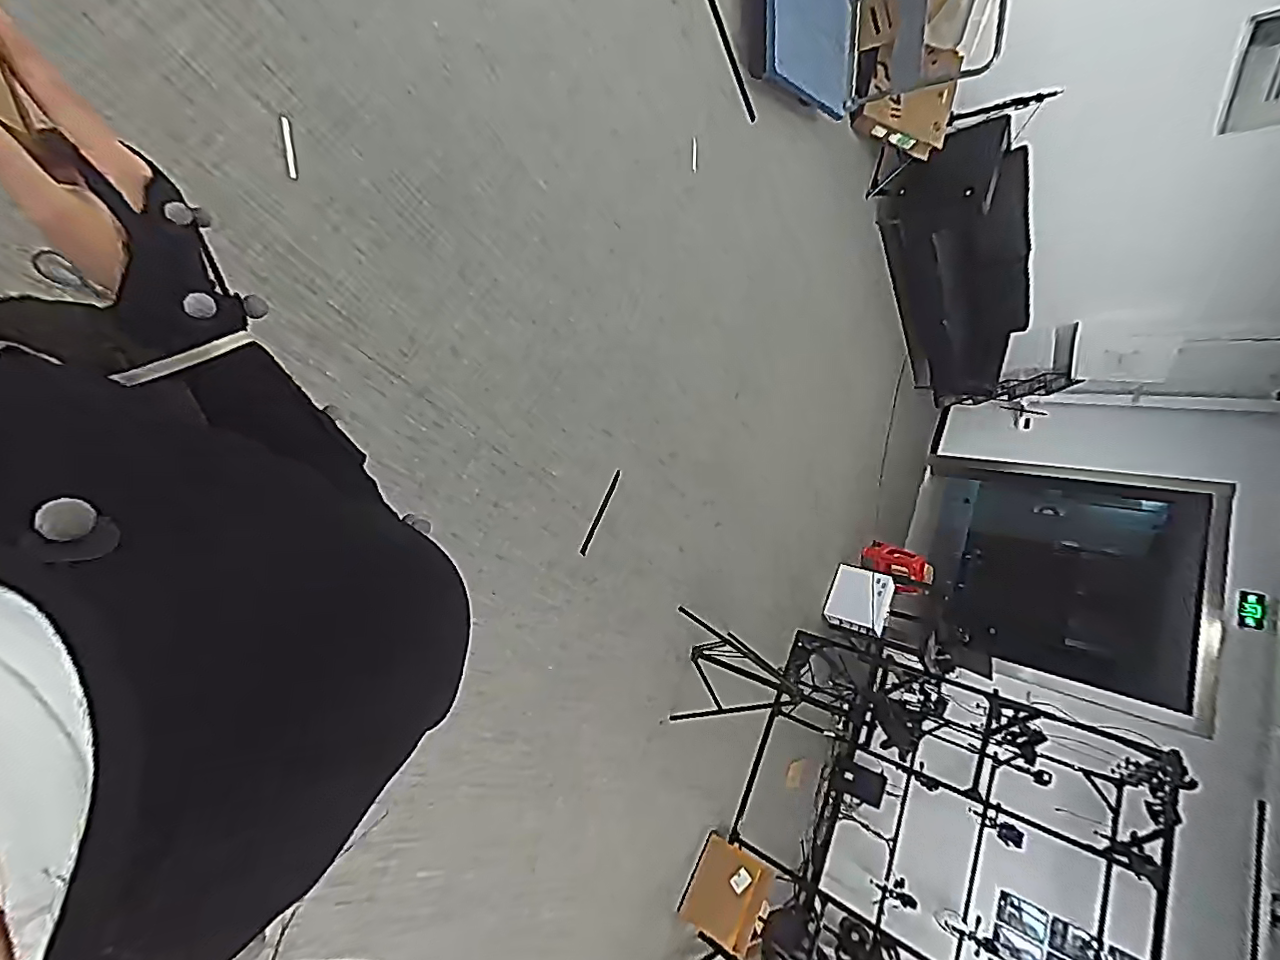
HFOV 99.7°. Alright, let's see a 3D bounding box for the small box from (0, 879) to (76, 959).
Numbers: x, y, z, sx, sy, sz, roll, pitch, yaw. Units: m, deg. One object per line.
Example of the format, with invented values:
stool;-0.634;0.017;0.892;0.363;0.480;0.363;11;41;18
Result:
small box;-1.130;0.836;0.927;0.168;0.176;0.179;37;69;-49
